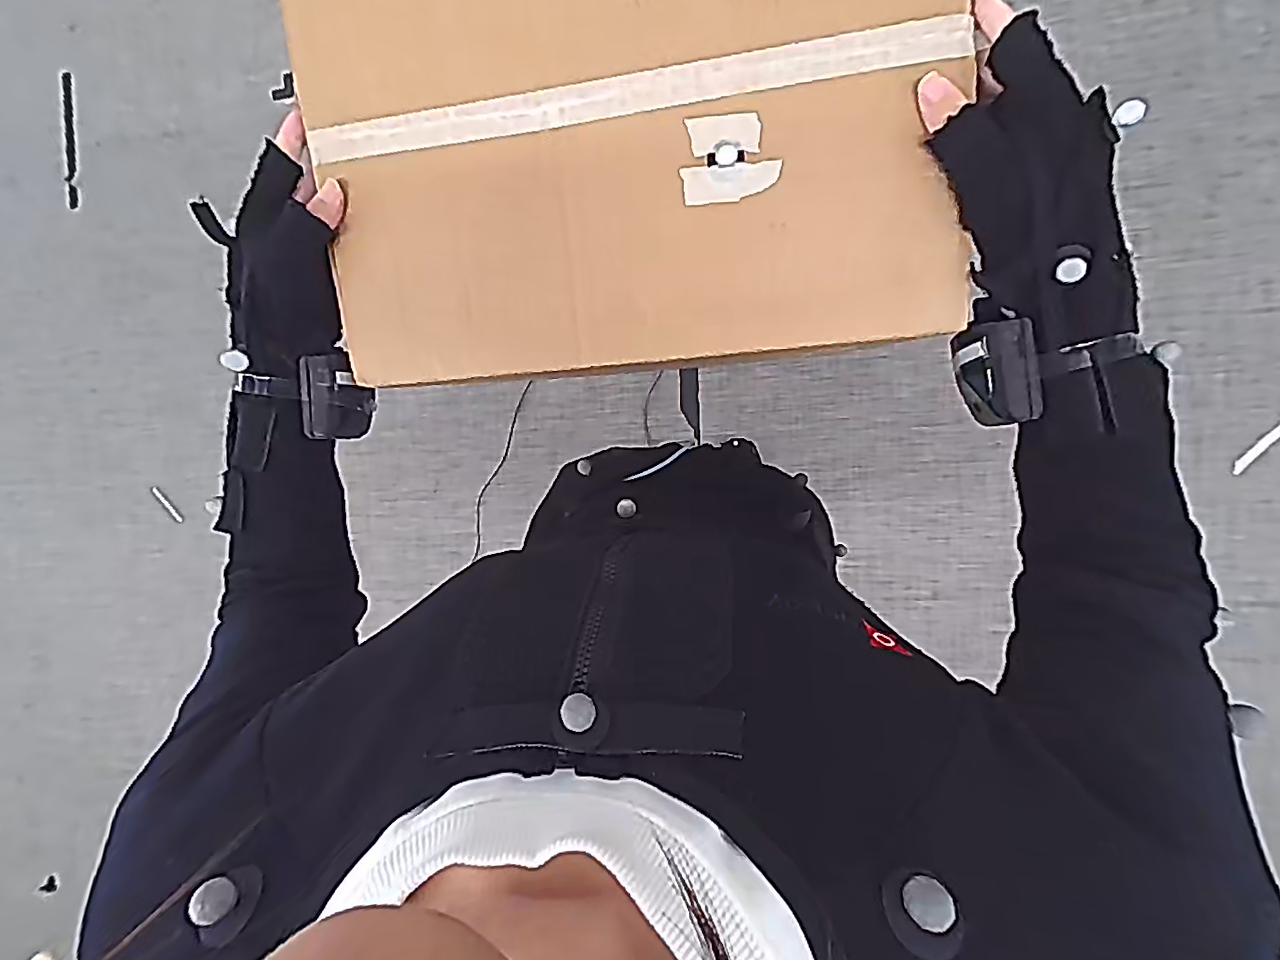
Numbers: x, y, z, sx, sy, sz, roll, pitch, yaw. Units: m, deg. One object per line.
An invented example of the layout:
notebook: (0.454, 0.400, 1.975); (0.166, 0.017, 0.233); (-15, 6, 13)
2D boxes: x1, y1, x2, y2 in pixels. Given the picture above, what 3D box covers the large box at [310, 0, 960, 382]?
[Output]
large box: (0.006, -0.265, 0.485); (0.408, 0.320, 0.320); (-4, 101, 8)
